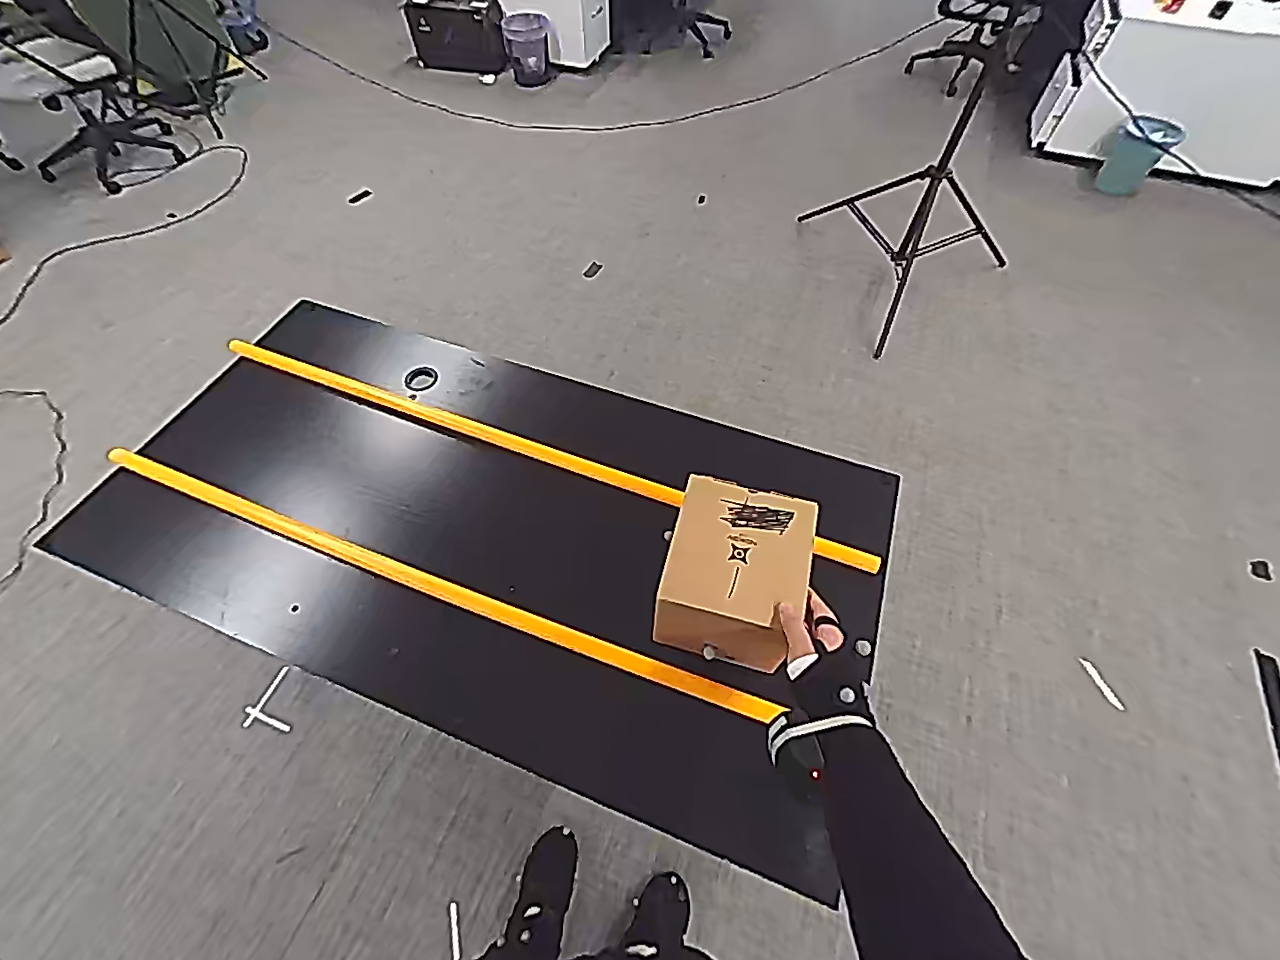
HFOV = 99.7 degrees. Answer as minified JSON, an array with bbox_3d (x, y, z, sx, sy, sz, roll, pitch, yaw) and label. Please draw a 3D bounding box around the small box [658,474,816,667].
[{"bbox_3d":[0.121,0.122,0.714,0.168,0.176,0.179,13,58,9],"label":"small box"}]
